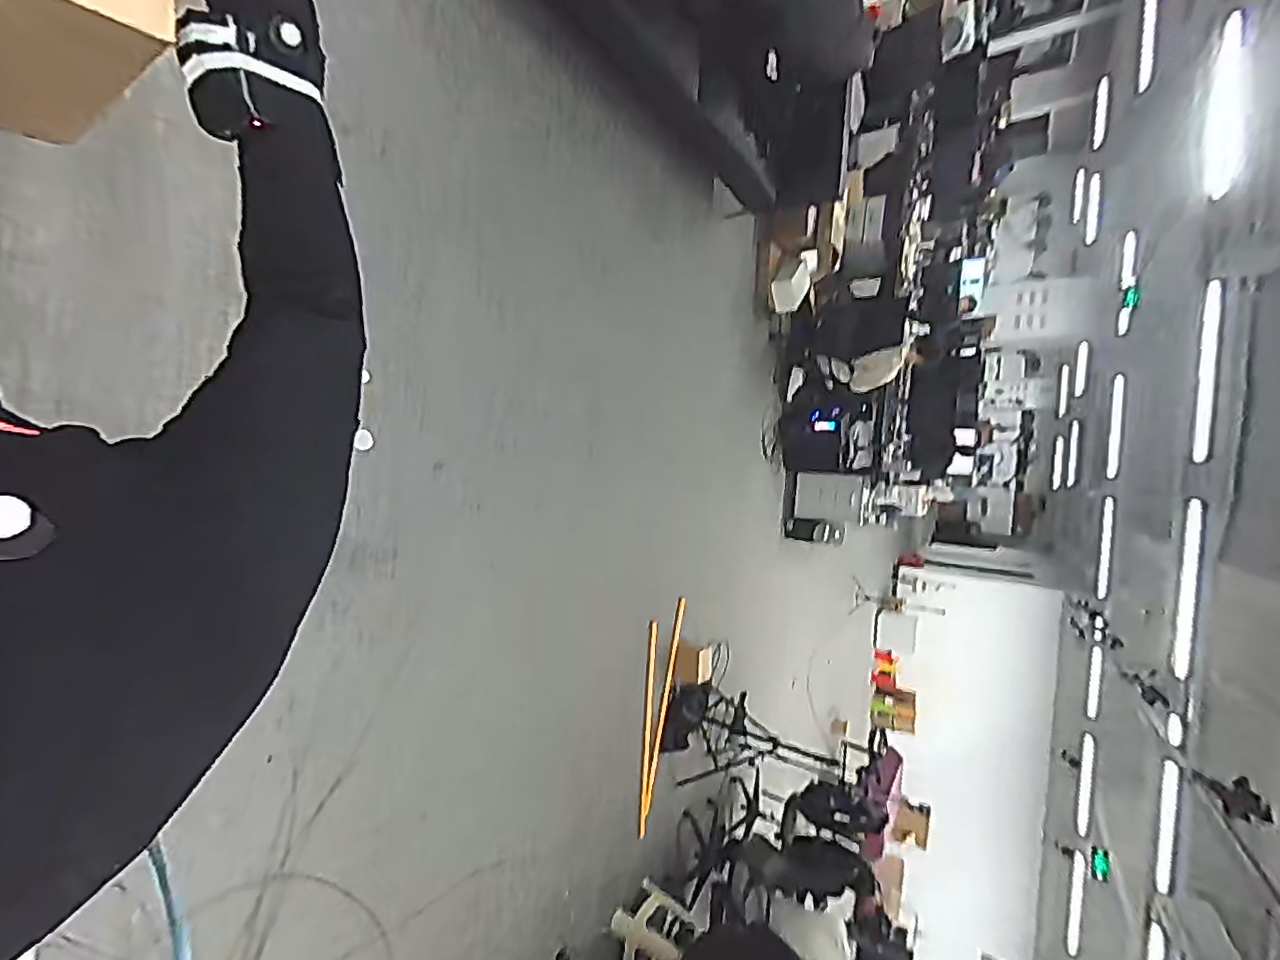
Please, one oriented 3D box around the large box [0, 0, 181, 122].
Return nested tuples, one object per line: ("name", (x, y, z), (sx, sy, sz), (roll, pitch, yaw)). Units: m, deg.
("large box", (-0.531, -0.443, 0.248), (0.408, 0.320, 0.320), (-12, 108, -55))
